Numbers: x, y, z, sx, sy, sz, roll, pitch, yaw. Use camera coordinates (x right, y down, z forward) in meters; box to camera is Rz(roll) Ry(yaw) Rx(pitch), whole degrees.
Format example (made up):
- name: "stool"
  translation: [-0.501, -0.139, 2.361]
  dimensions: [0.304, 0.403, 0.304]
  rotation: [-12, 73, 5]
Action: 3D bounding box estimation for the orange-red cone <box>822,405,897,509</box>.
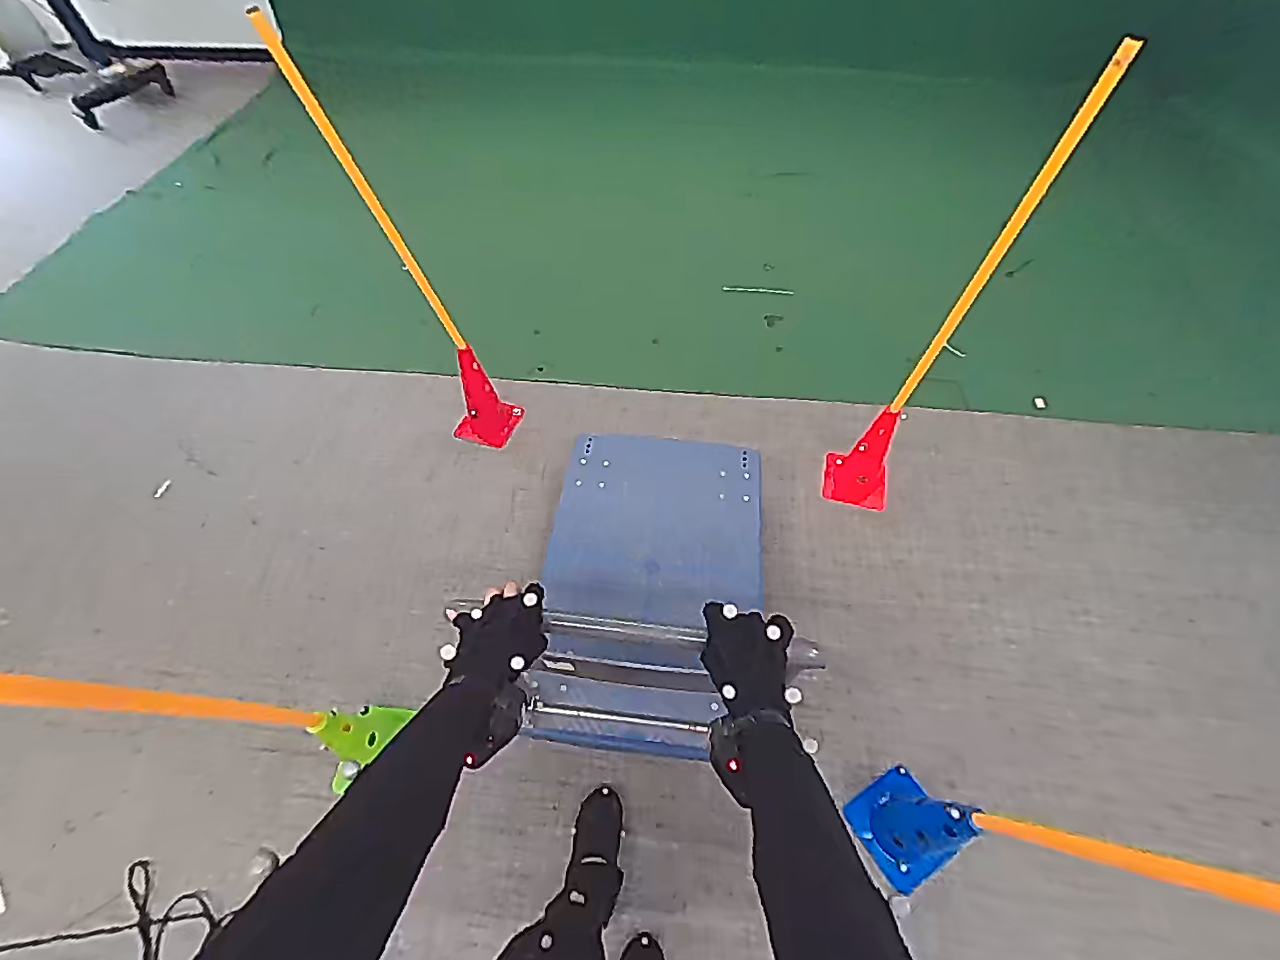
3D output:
- name: "orange-red cone"
  translation: [0.712, -0.096, 1.666]
  dimensions: [0.198, 0.360, 0.199]
  rotation: [13, 57, 11]
